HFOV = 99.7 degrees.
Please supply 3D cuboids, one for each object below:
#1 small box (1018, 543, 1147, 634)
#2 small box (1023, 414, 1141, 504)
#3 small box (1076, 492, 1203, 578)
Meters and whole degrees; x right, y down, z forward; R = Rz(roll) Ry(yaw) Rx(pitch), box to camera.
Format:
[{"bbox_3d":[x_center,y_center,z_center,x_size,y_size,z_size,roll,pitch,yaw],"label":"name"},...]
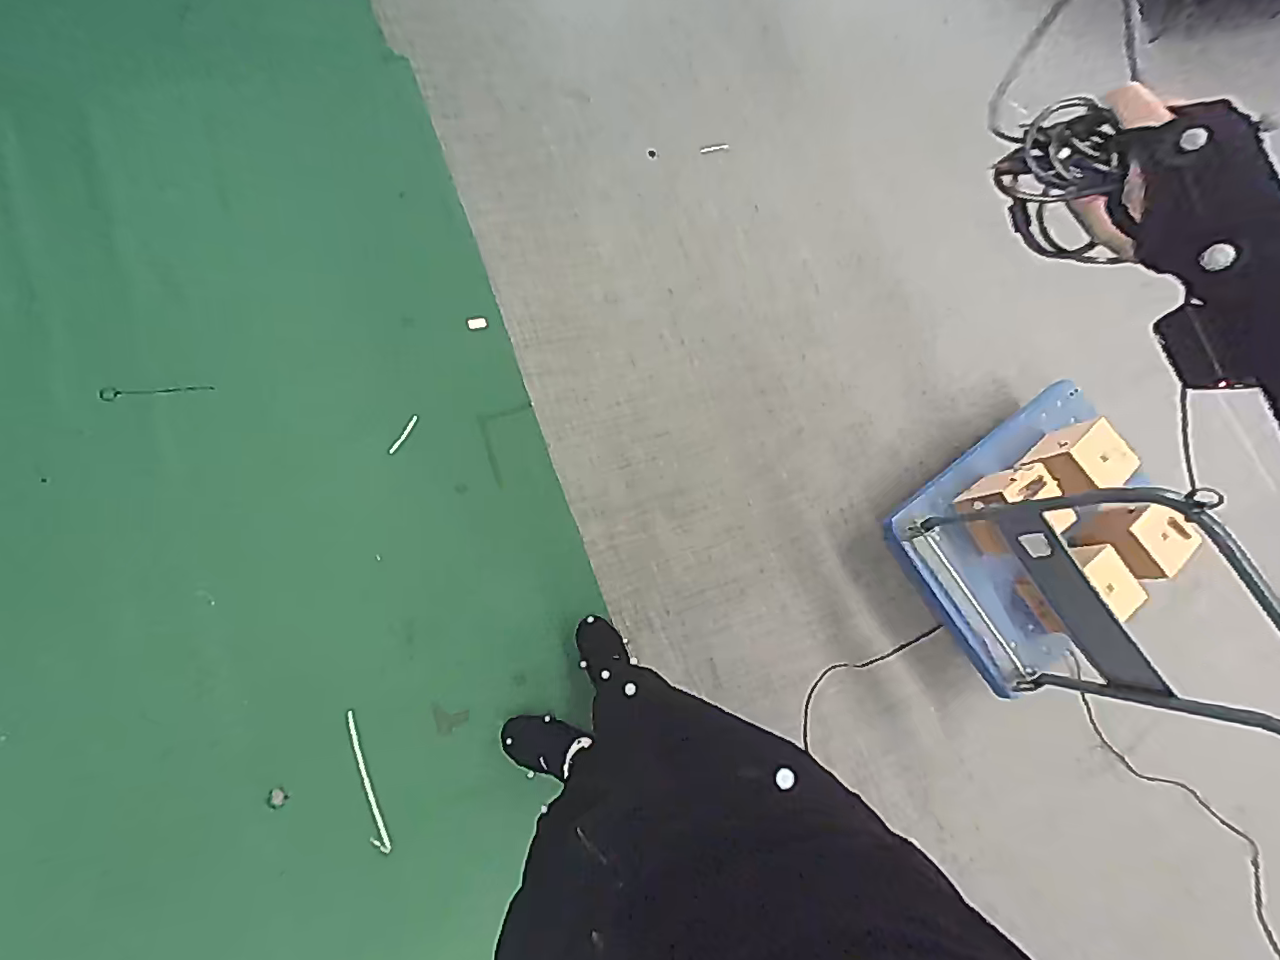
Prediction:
[{"bbox_3d":[1.165,0.287,1.437,0.179,0.176,0.168,-32,85,-16],"label":"small box"},{"bbox_3d":[1.231,-0.051,1.524,0.179,0.176,0.168,-37,88,-17],"label":"small box"},{"bbox_3d":[1.383,0.157,1.508,0.179,0.176,0.168,-35,86,-16],"label":"small box"}]
